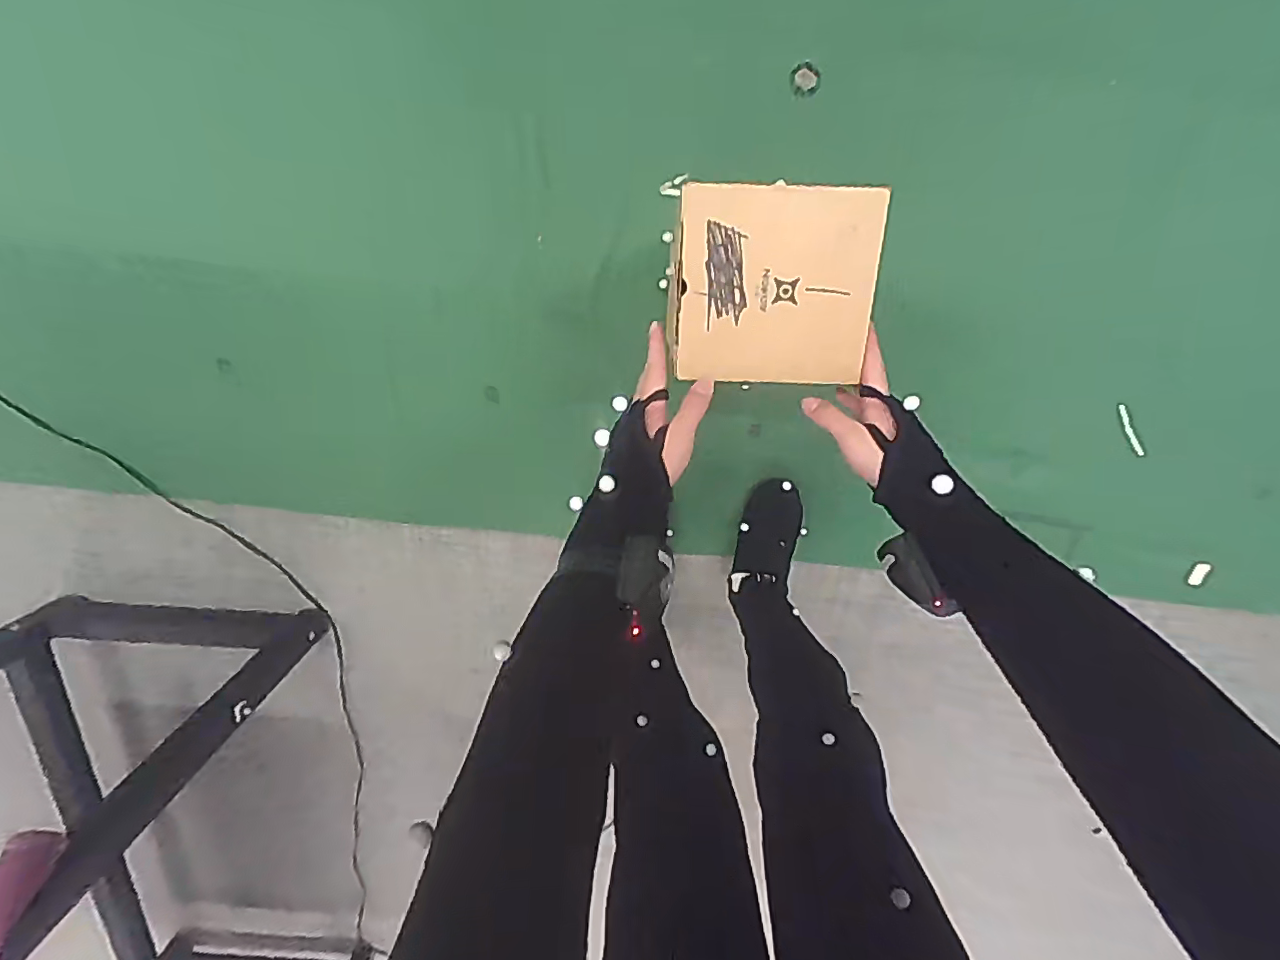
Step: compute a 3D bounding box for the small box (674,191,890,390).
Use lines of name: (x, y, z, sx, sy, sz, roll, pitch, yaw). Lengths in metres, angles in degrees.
small box: (0.125, -0.190, 0.557, 0.179, 0.176, 0.168, 2, 109, 2)
